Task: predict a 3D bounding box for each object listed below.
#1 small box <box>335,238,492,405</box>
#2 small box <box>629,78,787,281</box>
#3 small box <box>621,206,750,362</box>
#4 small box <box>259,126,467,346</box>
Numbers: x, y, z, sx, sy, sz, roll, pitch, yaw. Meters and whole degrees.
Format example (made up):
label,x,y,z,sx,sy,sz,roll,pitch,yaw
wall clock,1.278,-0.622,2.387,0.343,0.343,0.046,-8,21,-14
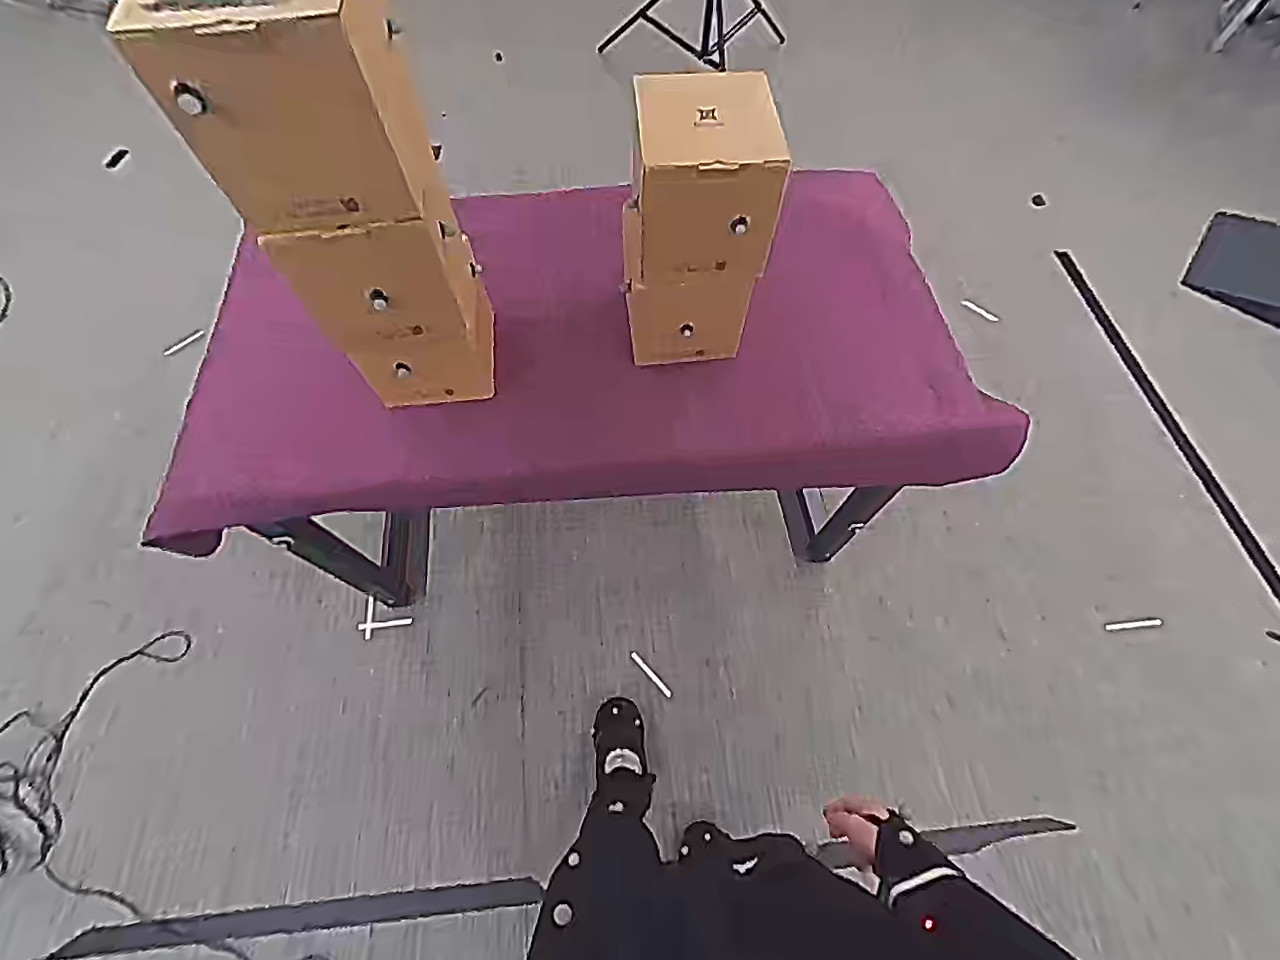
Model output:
label,x,y,z,sx,sy,sz,roll,pitch,yaw
small box,-0.320,-0.224,0.802,0.168,0.176,0.179,-6,64,-3
small box,0.074,-0.374,0.694,0.168,0.176,0.179,-4,63,-3
small box,0.062,-0.299,0.838,0.168,0.176,0.179,-5,64,-4
small box,-0.313,-0.278,0.645,0.168,0.176,0.179,-10,65,-6
